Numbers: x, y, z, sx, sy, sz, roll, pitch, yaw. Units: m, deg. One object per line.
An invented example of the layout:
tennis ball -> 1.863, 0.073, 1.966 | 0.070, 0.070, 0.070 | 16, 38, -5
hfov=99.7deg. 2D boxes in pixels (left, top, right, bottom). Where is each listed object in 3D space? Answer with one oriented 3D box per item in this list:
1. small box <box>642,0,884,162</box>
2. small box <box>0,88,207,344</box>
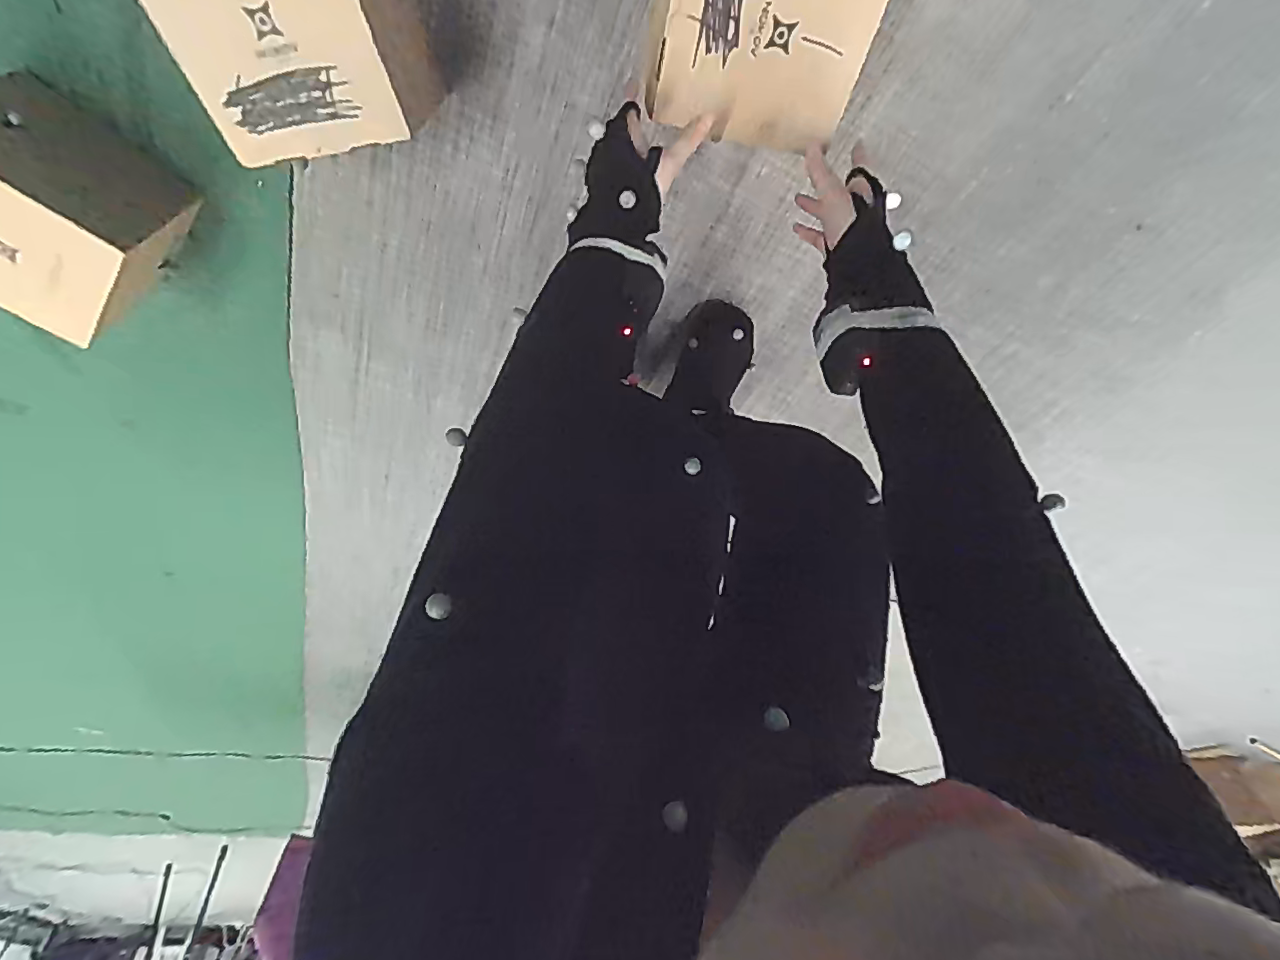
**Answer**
small box -> 0.103, -0.432, 0.511 | 0.179, 0.176, 0.168 | 6, 136, -11
small box -> -0.646, -0.296, 0.604 | 0.168, 0.176, 0.179 | -33, 129, 27
